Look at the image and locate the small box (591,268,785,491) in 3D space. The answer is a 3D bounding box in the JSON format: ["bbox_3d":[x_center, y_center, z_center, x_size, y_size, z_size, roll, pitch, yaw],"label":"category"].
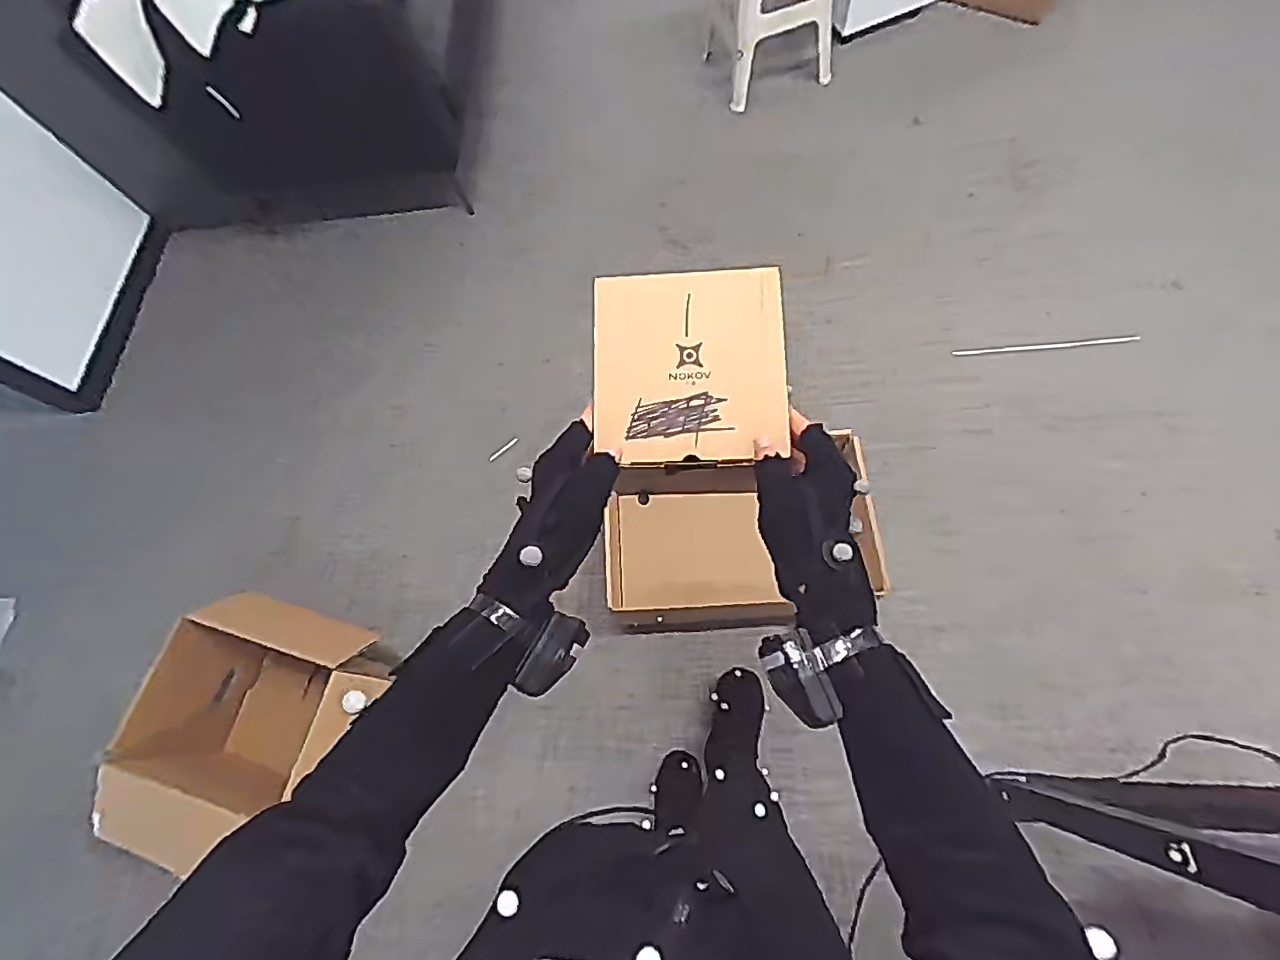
[{"bbox_3d":[0.047,-0.084,0.544,0.168,0.176,0.179,-2,79,5],"label":"small box"}]
